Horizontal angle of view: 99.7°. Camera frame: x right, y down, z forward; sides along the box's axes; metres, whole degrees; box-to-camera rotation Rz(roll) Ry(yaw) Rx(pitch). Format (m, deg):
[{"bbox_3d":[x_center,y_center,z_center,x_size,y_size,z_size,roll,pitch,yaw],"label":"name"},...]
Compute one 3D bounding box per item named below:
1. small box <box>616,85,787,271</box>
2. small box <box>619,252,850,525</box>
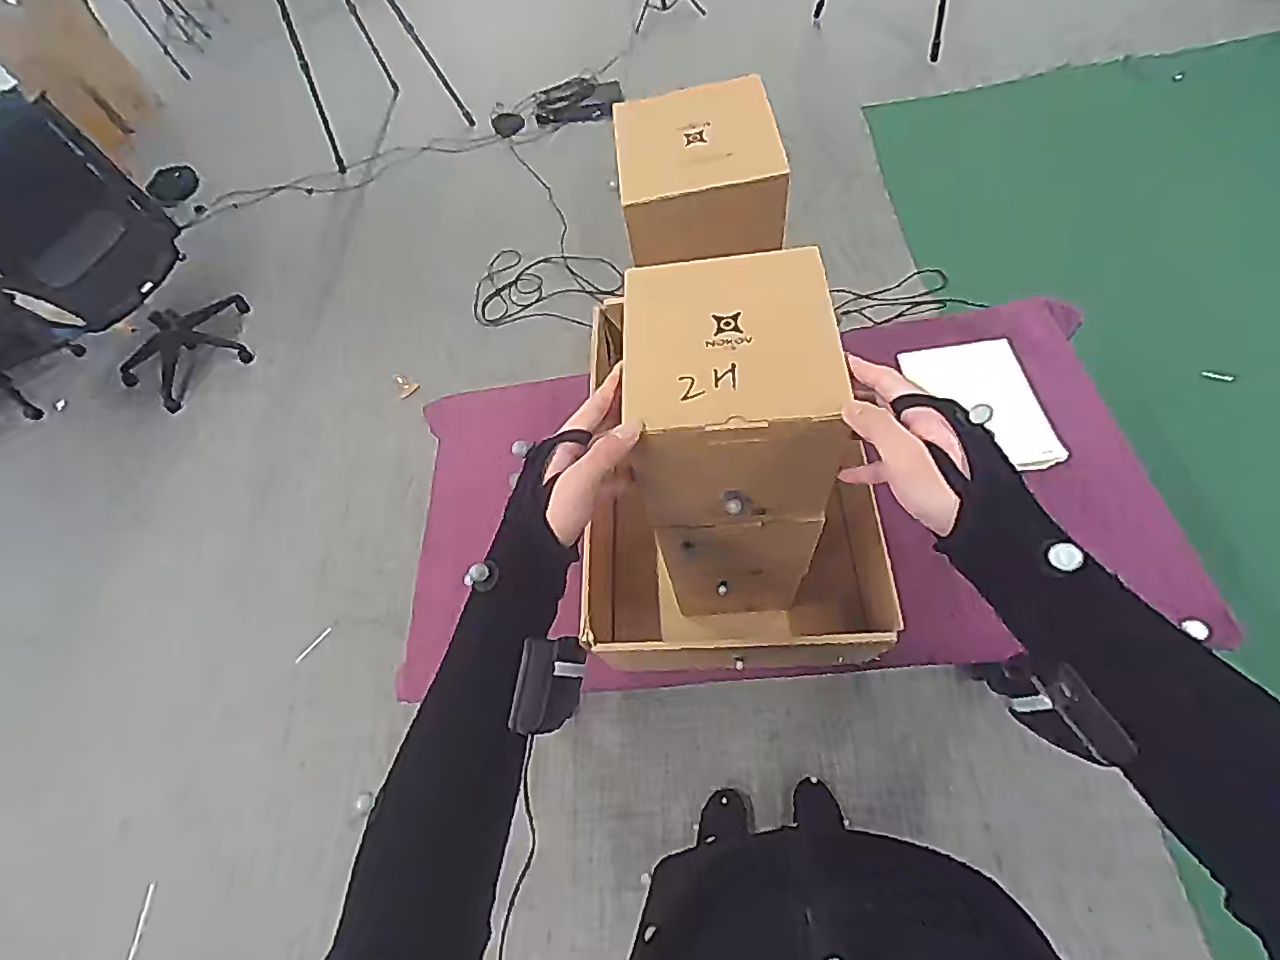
[{"bbox_3d":[0.067,-0.313,0.633,0.168,0.176,0.179,-7,63,6],"label":"small box"},{"bbox_3d":[0.079,-0.074,0.493,0.168,0.176,0.179,-4,61,8],"label":"small box"}]
